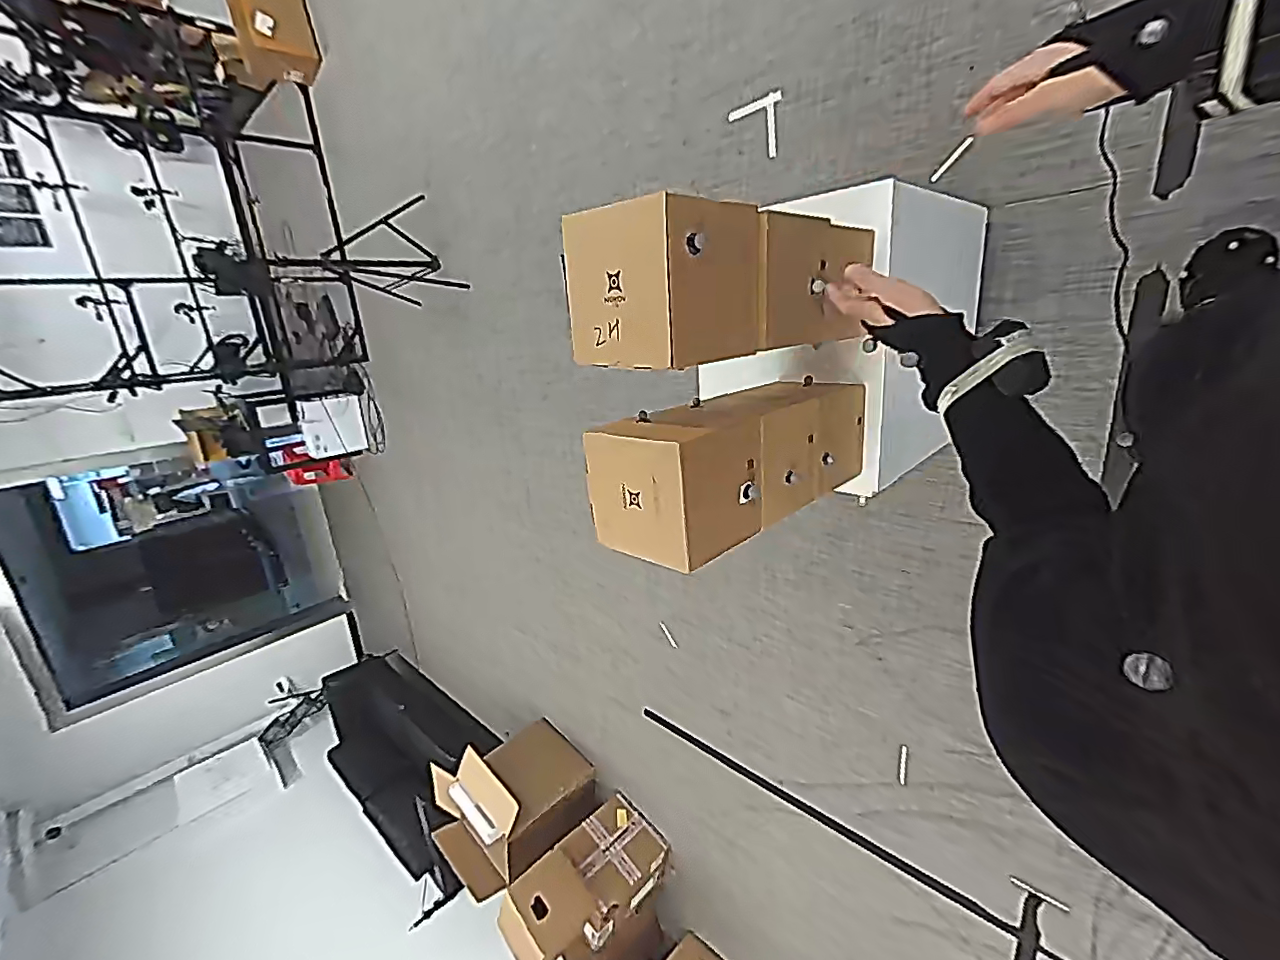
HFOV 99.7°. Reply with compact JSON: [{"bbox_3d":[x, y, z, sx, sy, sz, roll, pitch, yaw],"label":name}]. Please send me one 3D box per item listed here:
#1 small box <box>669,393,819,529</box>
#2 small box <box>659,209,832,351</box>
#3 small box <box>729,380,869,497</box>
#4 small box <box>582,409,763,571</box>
[{"bbox_3d":[0.163,-0.041,0.842,0.179,0.176,0.168,11,113,44],"label":"small box"},{"bbox_3d":[0.147,-0.276,0.763,0.179,0.176,0.168,14,115,42],"label":"small box"},{"bbox_3d":[0.276,-0.083,0.952,0.179,0.176,0.168,13,114,44],"label":"small box"},{"bbox_3d":[0.047,0.000,0.735,0.179,0.176,0.168,10,113,44],"label":"small box"}]
